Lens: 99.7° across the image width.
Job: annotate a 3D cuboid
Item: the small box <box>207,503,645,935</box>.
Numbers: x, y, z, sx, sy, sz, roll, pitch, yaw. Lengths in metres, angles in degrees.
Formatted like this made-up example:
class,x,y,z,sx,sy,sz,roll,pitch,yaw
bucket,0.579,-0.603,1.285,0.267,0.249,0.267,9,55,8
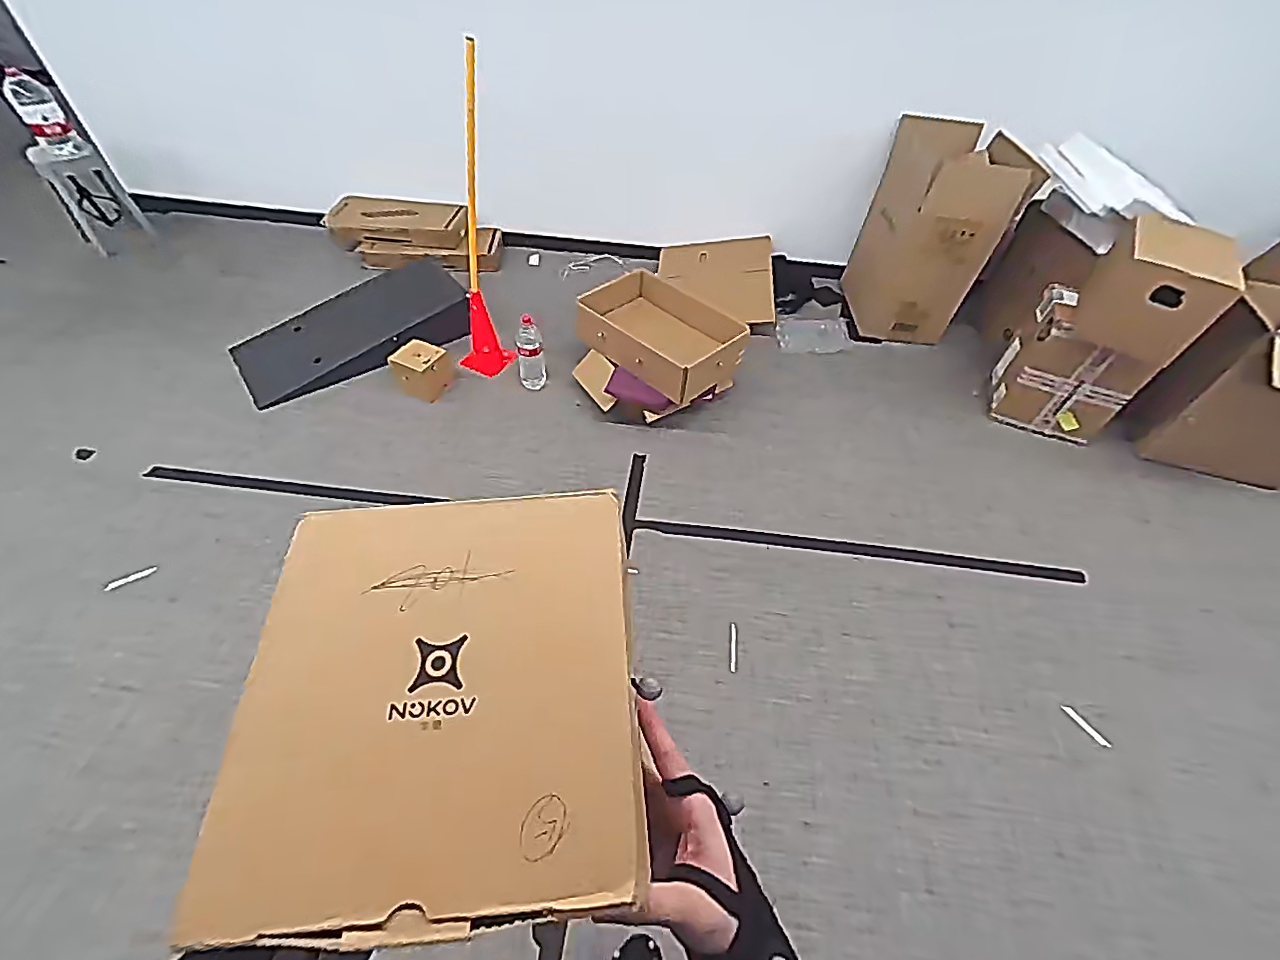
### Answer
class,x,y,z,sx,sy,sz,roll,pitch,yaw
small box,-0.085,0.134,0.315,0.168,0.176,0.179,-4,56,-1
